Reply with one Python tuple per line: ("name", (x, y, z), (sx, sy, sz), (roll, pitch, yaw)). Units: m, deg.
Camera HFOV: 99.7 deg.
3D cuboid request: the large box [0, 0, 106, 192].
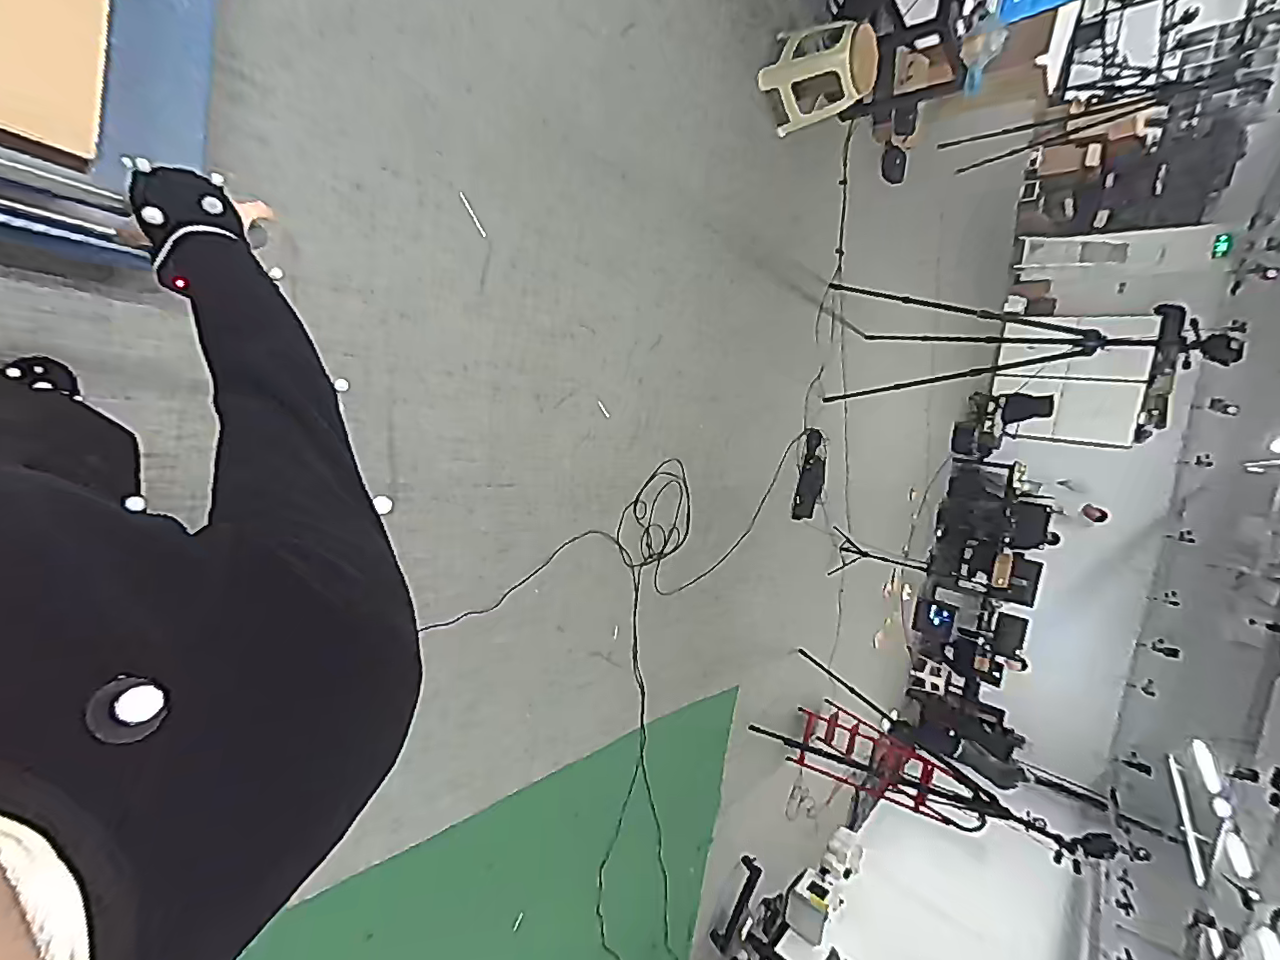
("large box", (-0.972, -0.691, 0.750), (0.320, 0.320, 0.408), (3, 97, -49))
